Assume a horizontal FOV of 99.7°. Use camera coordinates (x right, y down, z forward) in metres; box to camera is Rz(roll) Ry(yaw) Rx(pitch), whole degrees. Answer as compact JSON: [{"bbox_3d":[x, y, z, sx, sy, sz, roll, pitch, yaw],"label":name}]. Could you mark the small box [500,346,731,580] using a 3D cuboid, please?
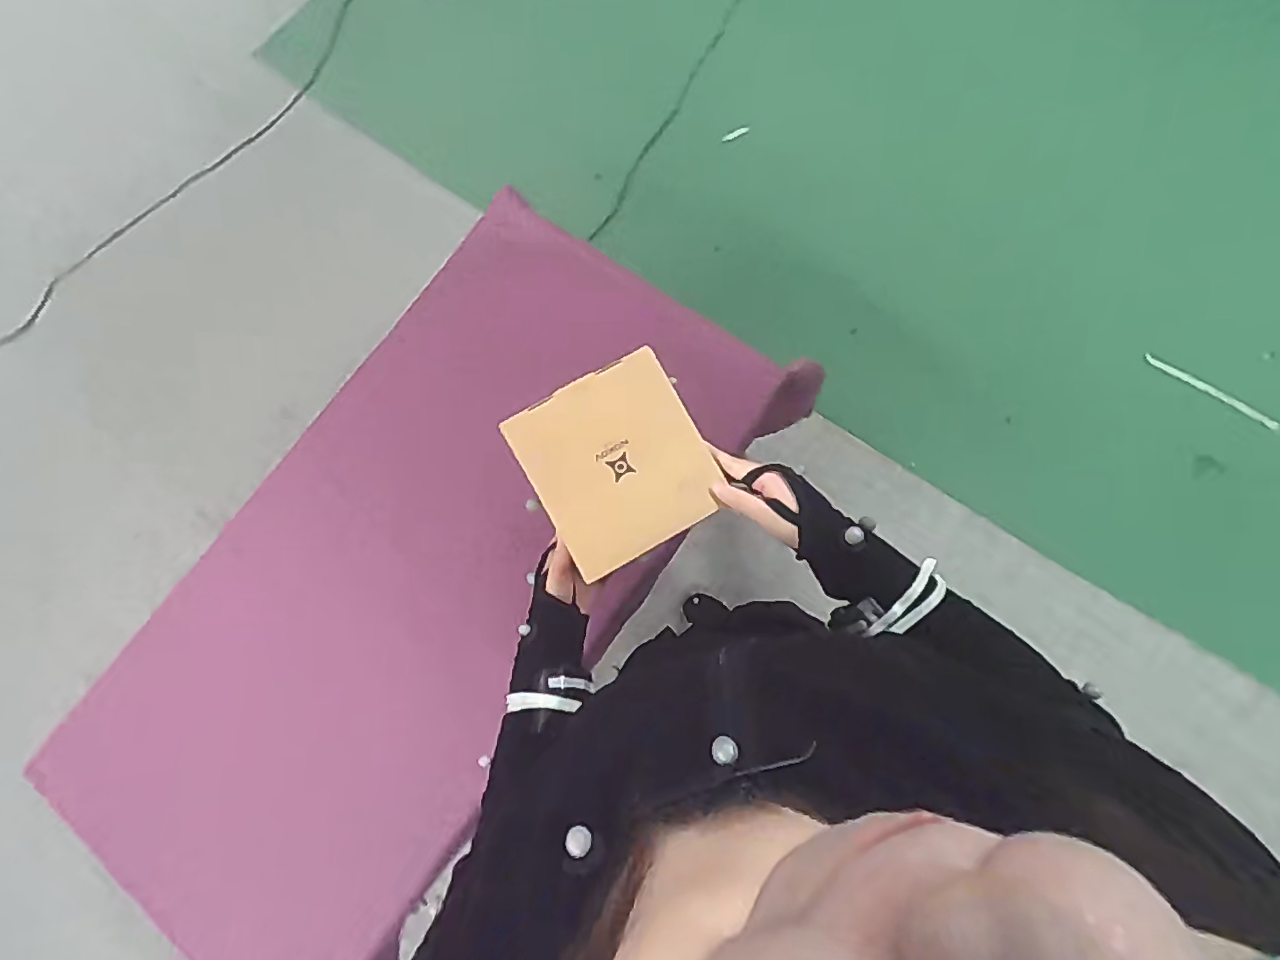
[{"bbox_3d":[-0.025,-0.013,0.592,0.168,0.176,0.179,-29,86,-4],"label":"small box"}]
